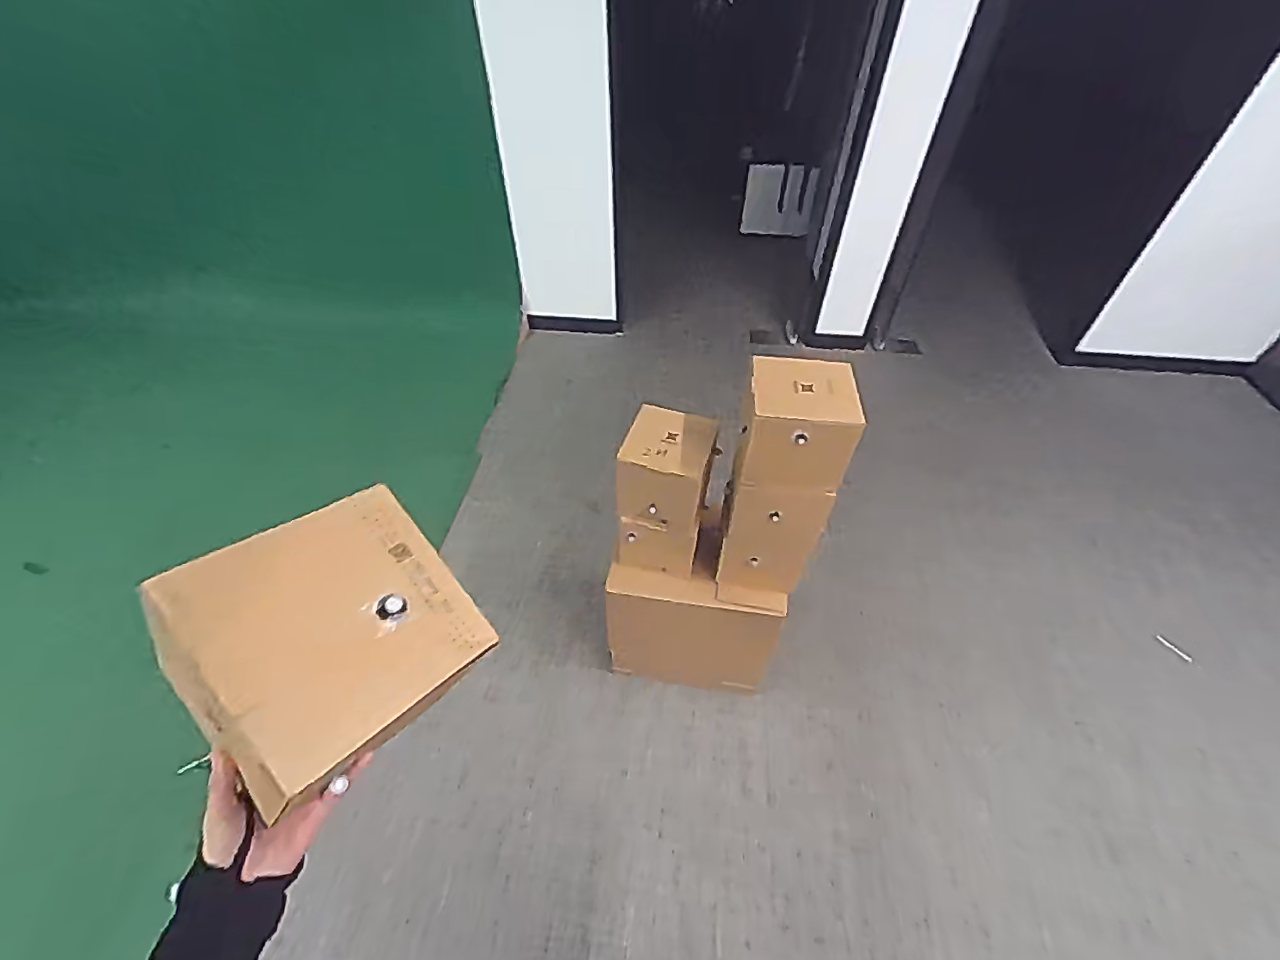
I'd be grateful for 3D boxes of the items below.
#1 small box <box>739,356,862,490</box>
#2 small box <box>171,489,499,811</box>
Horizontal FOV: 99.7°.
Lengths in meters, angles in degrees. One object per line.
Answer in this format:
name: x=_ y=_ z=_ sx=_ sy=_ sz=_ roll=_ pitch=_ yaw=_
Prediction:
small box: x=0.273 y=-0.099 z=0.963 sx=0.179 sy=0.176 sz=0.168 roll=6 pitch=48 yaw=4
small box: x=-0.248 y=0.136 z=0.454 sx=0.168 sy=0.179 sz=0.176 roll=51 pitch=42 yaw=7
